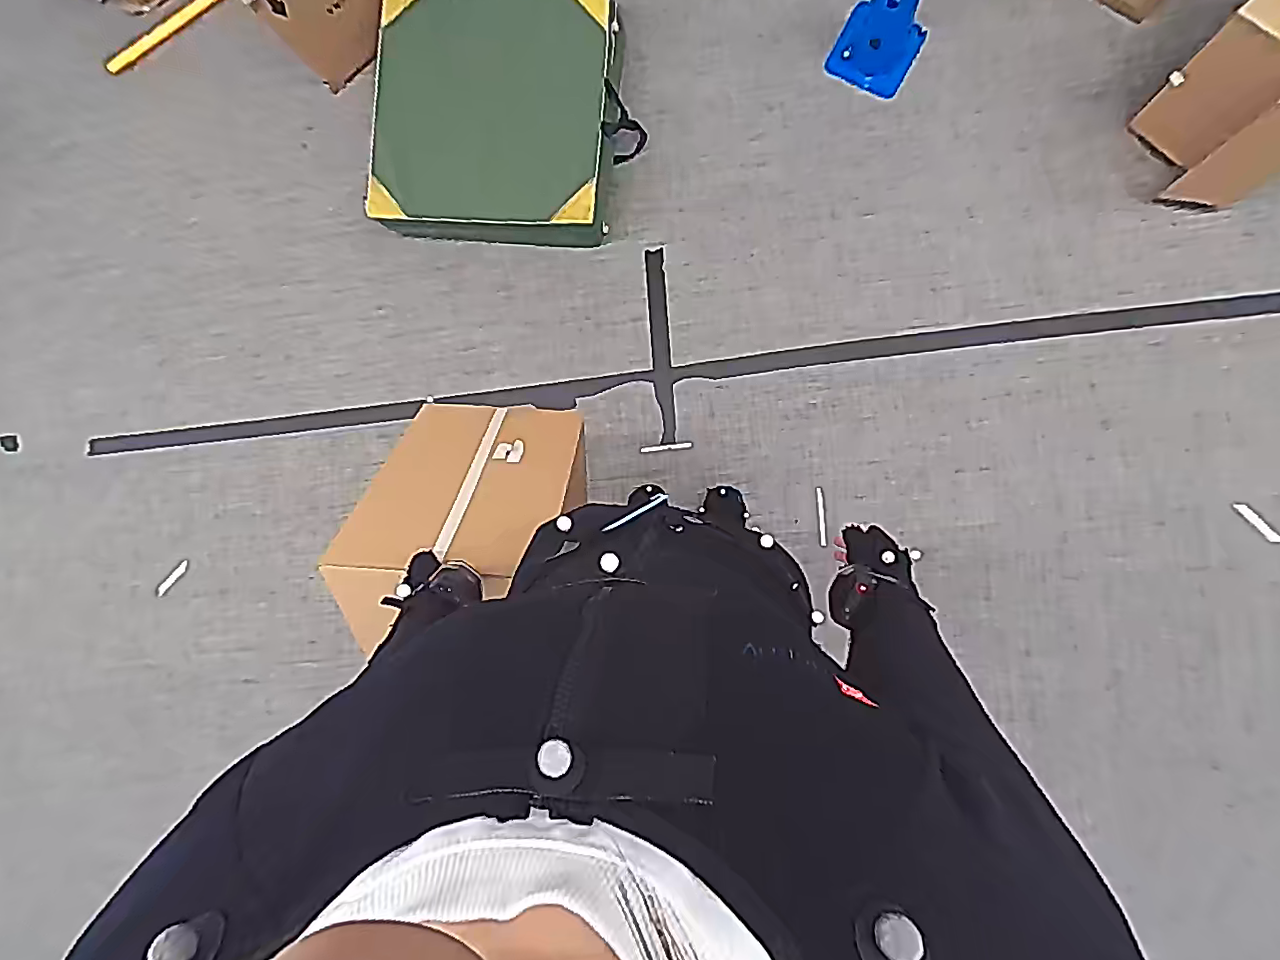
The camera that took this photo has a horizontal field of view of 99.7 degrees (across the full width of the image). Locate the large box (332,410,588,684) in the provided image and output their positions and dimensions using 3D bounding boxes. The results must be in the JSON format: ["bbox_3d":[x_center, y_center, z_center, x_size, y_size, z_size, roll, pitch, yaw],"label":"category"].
[{"bbox_3d":[-0.278,0.114,0.999,0.320,0.408,0.320,4,130,2],"label":"large box"}]
